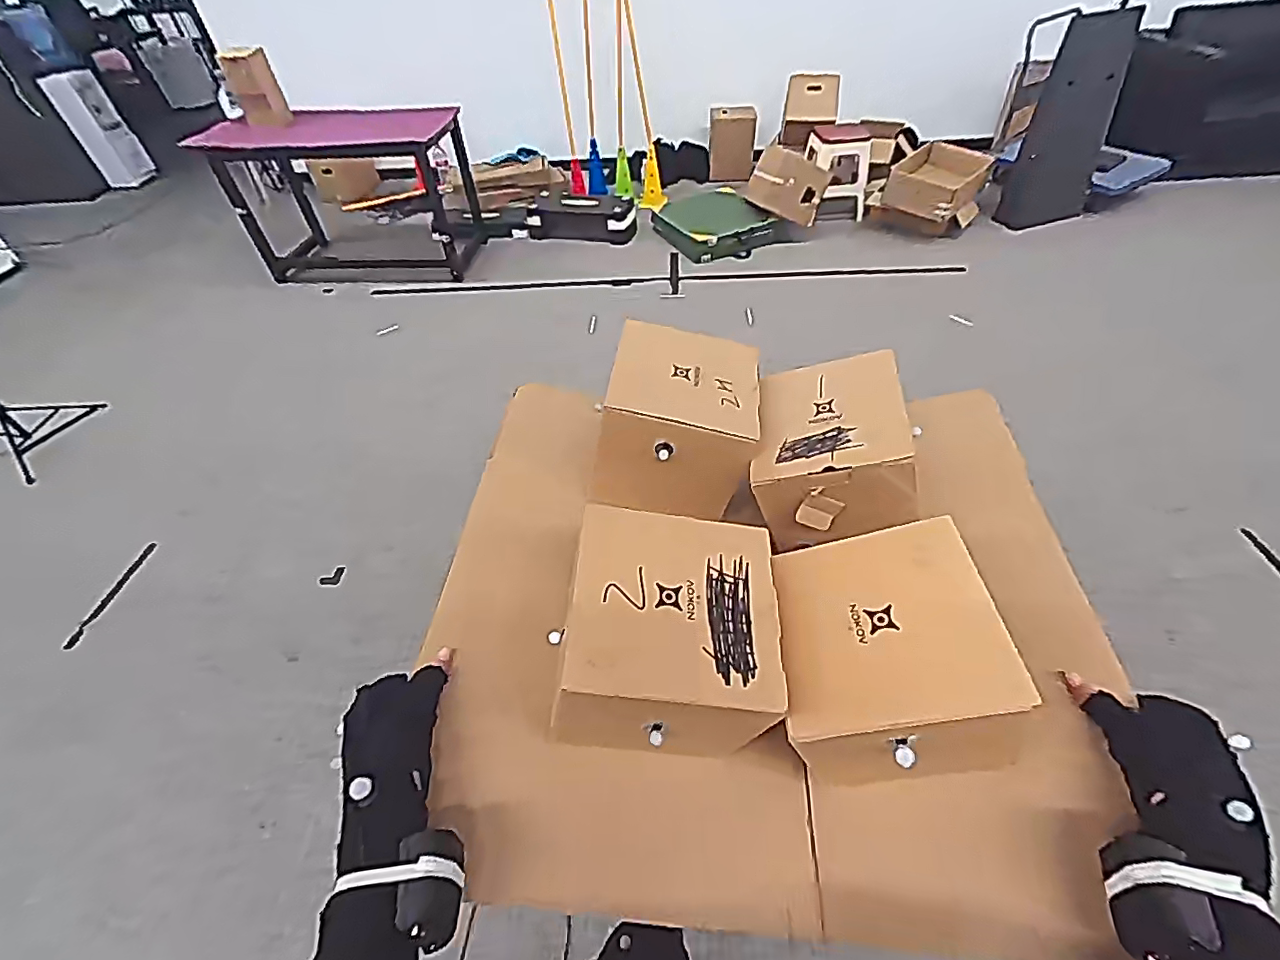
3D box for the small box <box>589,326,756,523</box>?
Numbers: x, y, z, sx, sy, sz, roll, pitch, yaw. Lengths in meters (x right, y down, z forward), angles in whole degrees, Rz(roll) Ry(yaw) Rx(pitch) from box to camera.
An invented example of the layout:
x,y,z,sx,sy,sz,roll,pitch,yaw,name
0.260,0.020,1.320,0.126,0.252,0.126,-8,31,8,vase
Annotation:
x,y,z,sx,sy,sz,roll,pitch,yaw,name
0.038,-0.065,0.693,0.179,0.176,0.168,13,50,-2,small box
